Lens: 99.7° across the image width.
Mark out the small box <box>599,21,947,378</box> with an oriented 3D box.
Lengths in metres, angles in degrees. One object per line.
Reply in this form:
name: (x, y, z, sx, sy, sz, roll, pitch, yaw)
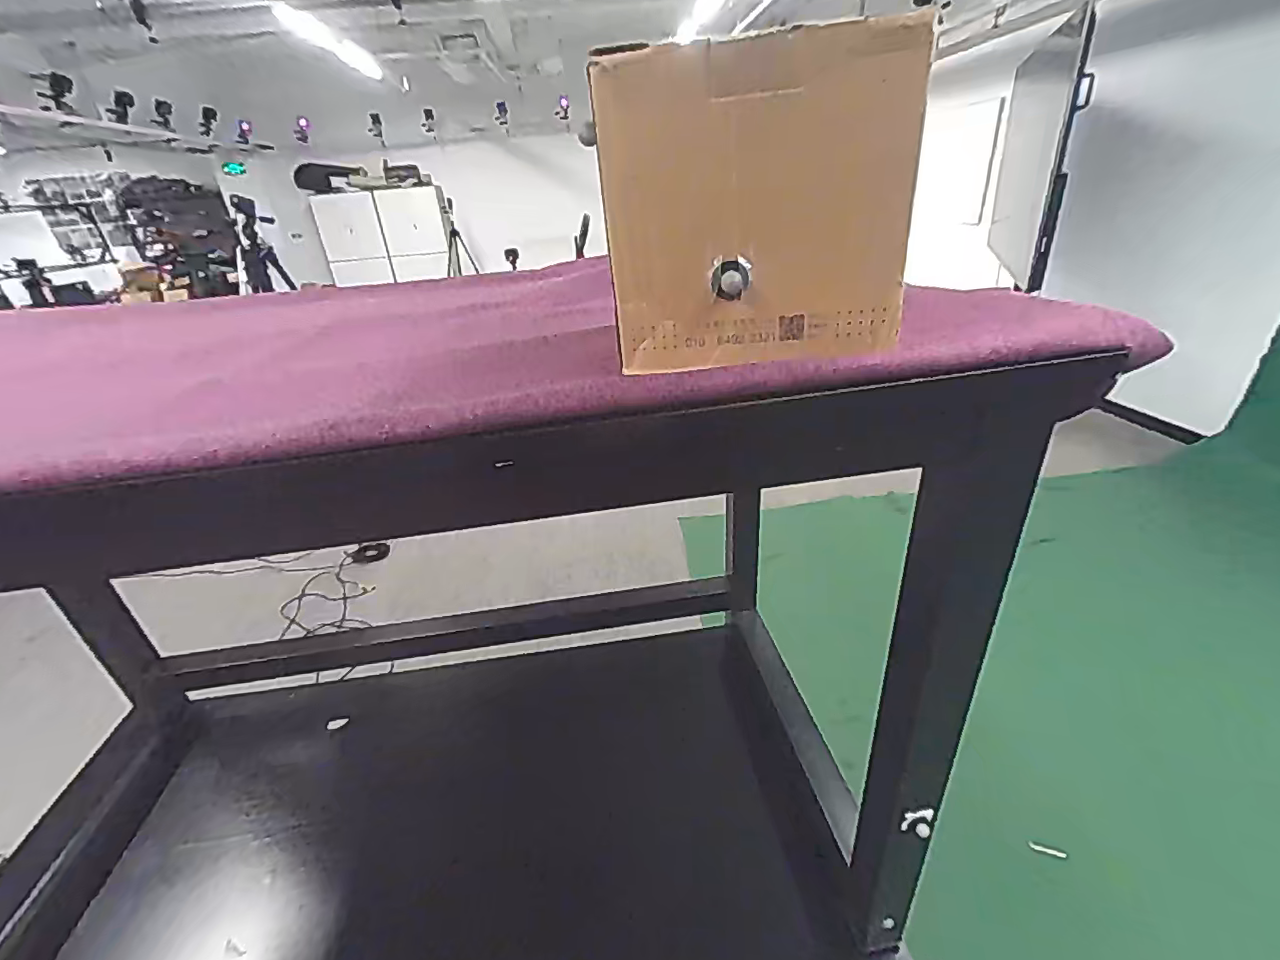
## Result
small box: (0.072, -0.176, 0.366, 0.168, 0.176, 0.179, -2, 30, 6)
